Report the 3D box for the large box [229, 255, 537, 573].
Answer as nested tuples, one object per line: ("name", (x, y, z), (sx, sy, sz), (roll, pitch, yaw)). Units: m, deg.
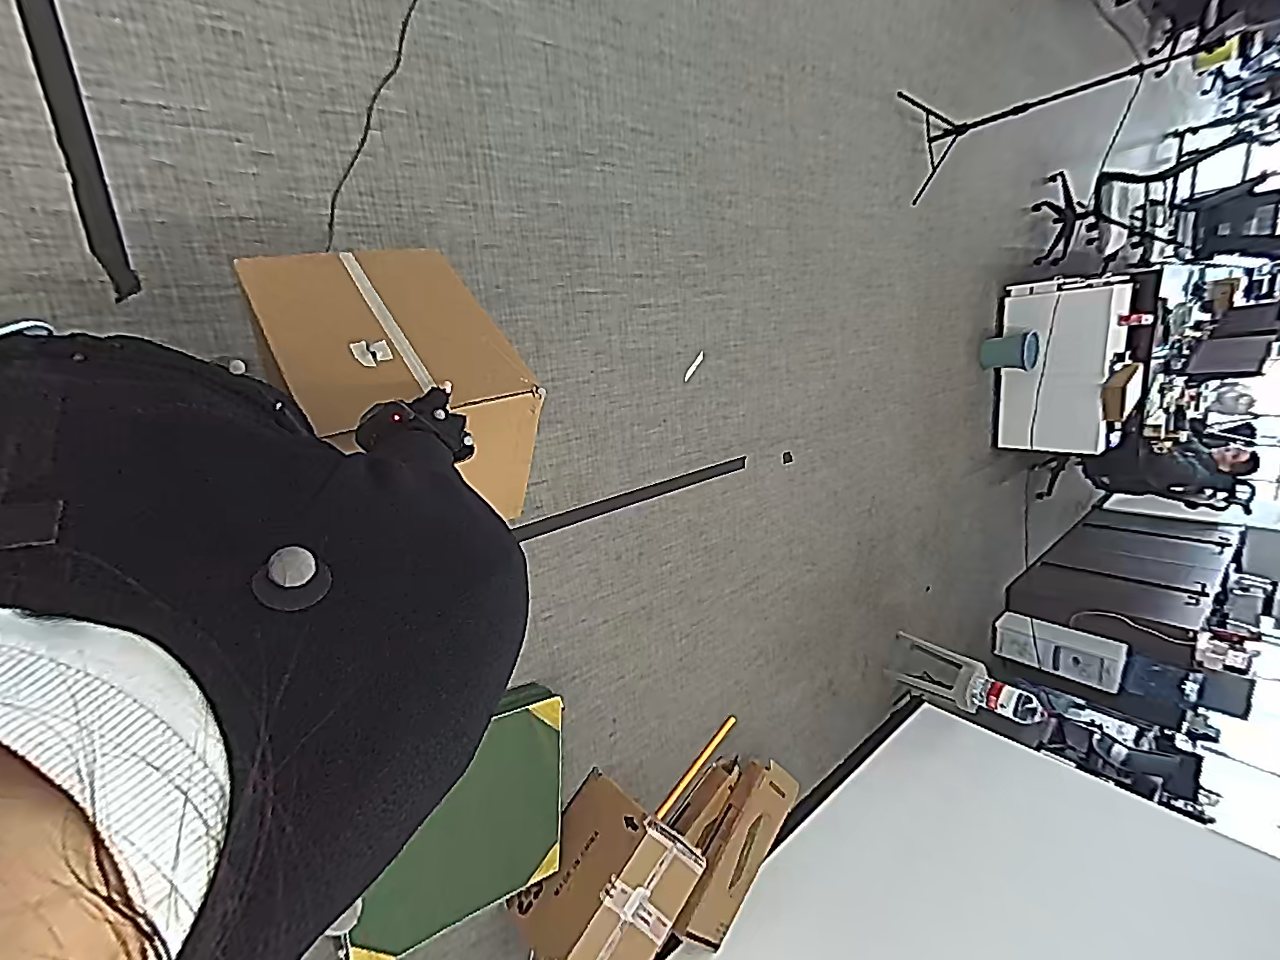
("large box", (-0.424, -0.126, 0.912), (0.320, 0.408, 0.320), (-21, 150, -33))
